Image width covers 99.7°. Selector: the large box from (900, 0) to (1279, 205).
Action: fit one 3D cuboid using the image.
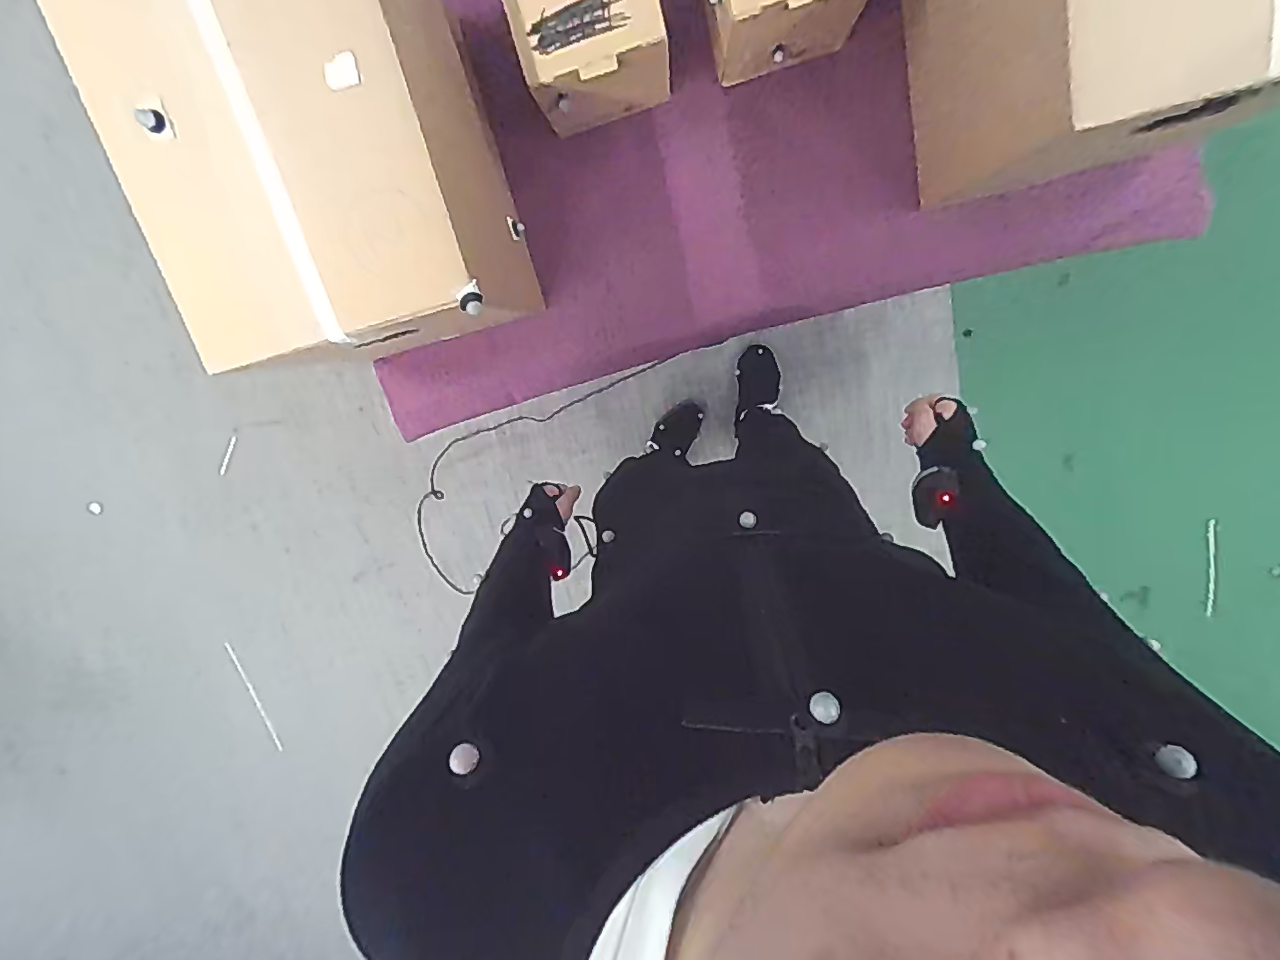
[{"bbox_3d":[0.485,-0.562,0.550,0.320,0.320,0.408,-13,104,8],"label":"large box"}]
